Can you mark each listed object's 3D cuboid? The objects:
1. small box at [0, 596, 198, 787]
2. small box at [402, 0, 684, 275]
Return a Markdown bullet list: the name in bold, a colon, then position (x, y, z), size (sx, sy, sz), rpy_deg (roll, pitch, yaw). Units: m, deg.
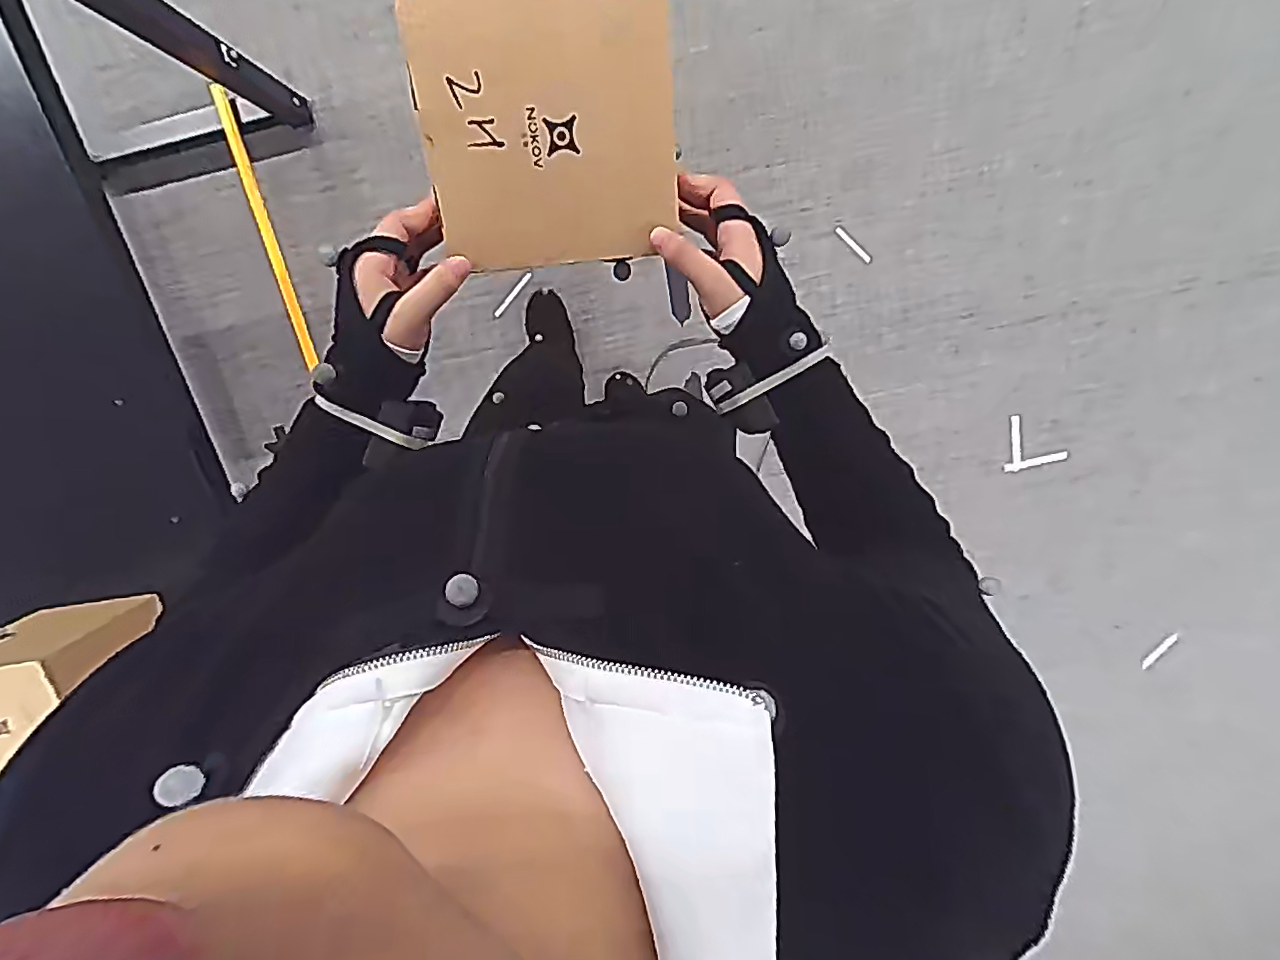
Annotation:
- **small box**: position (-0.762, 0.274, 0.724), size (0.179, 0.176, 0.168), rpy_deg (-9, 107, 1)
- **small box**: position (-0.064, -0.268, 0.447), size (0.179, 0.176, 0.168), rpy_deg (-6, 113, -1)
